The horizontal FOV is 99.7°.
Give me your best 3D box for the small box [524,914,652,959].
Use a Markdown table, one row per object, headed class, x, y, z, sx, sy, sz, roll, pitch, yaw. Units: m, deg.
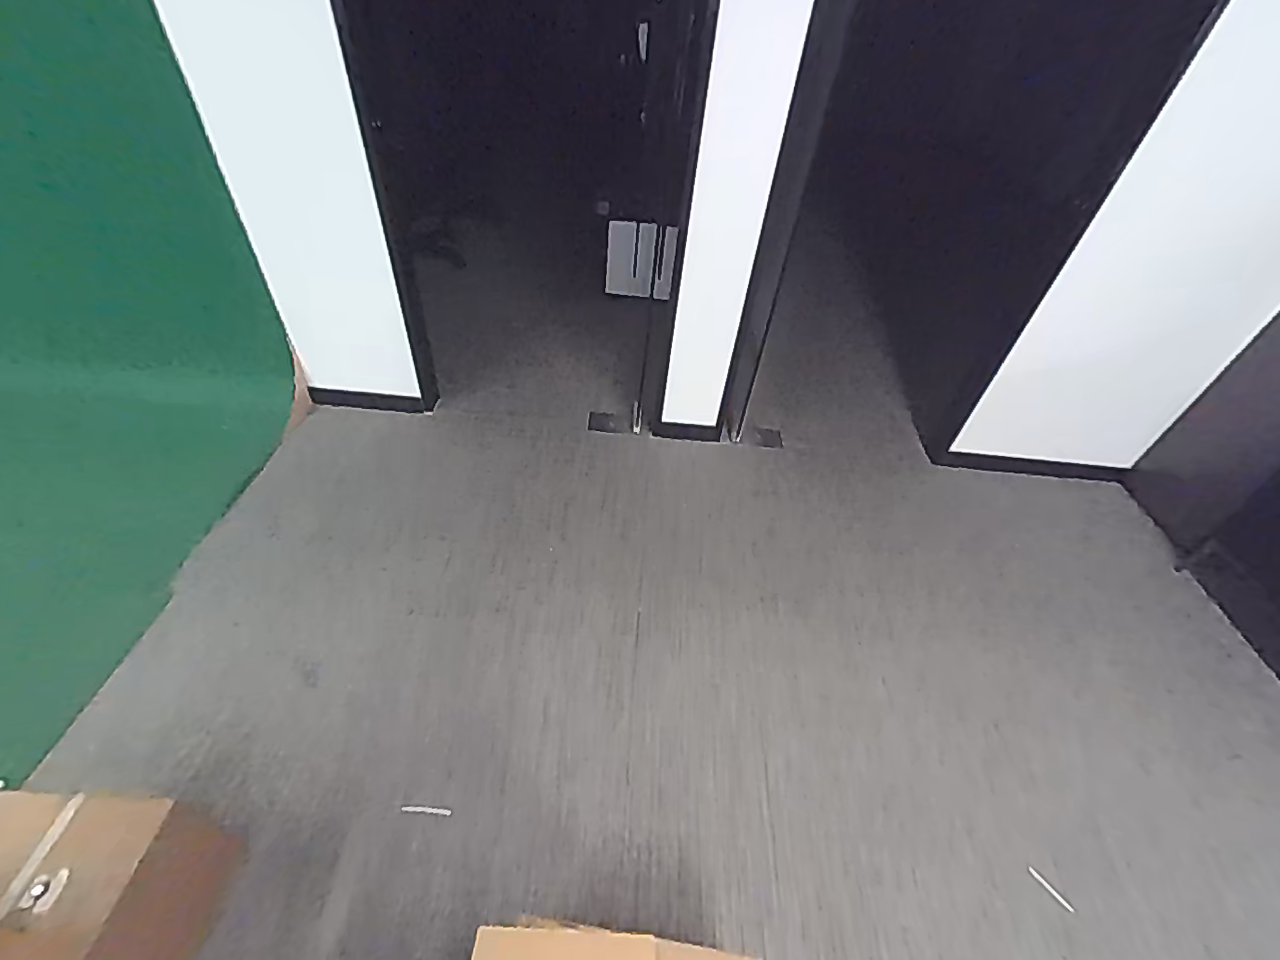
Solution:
| class | x | y | z | sx | sy | sz | roll | pitch | yaw |
| --- | --- | --- | --- | --- | --- | --- | --- | --- | --- |
| small box | -0.083 | 0.720 | 0.722 | 0.168 | 0.176 | 0.179 | 10 | 41 | 2 |
